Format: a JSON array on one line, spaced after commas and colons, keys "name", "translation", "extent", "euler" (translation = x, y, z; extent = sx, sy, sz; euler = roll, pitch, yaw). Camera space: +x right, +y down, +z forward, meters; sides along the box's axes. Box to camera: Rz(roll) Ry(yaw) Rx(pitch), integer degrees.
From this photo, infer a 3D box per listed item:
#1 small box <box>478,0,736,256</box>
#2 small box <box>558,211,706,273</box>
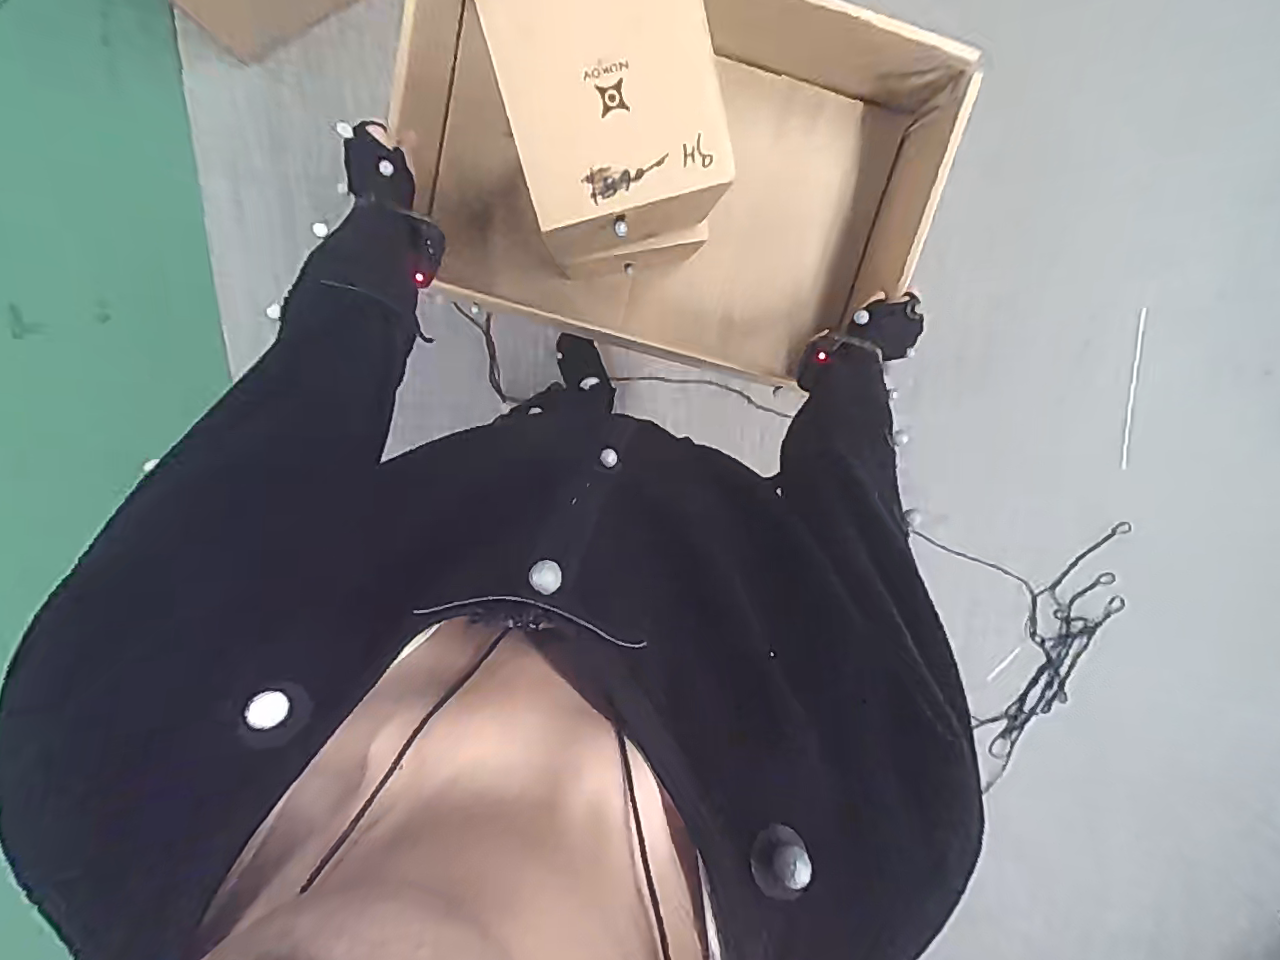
[{"name": "small box", "translation": [-0.029, -0.322, 0.482], "extent": [0.168, 0.176, 0.179], "euler": [-15, 103, 0]}, {"name": "small box", "translation": [-0.024, -0.353, 0.644], "extent": [0.168, 0.176, 0.179], "euler": [-10, 103, -2]}]
